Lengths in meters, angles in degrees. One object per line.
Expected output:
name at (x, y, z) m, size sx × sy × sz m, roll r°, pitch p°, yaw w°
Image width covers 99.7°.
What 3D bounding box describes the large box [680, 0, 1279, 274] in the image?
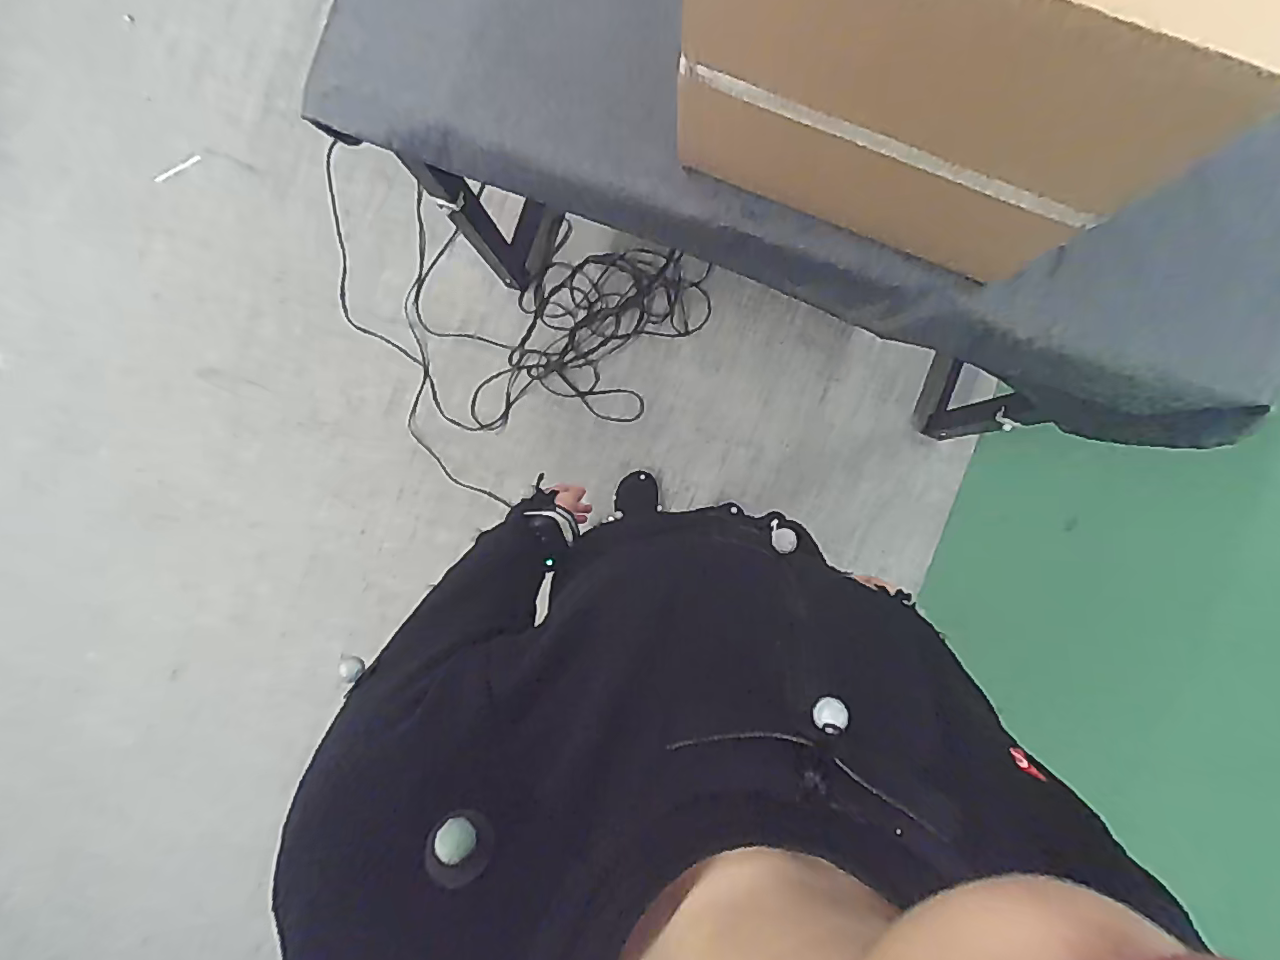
large box at (0.279, -0.445, 0.487) m, size 0.408 × 0.320 × 0.320 m, roll 22°, pitch 89°, yaw 2°
